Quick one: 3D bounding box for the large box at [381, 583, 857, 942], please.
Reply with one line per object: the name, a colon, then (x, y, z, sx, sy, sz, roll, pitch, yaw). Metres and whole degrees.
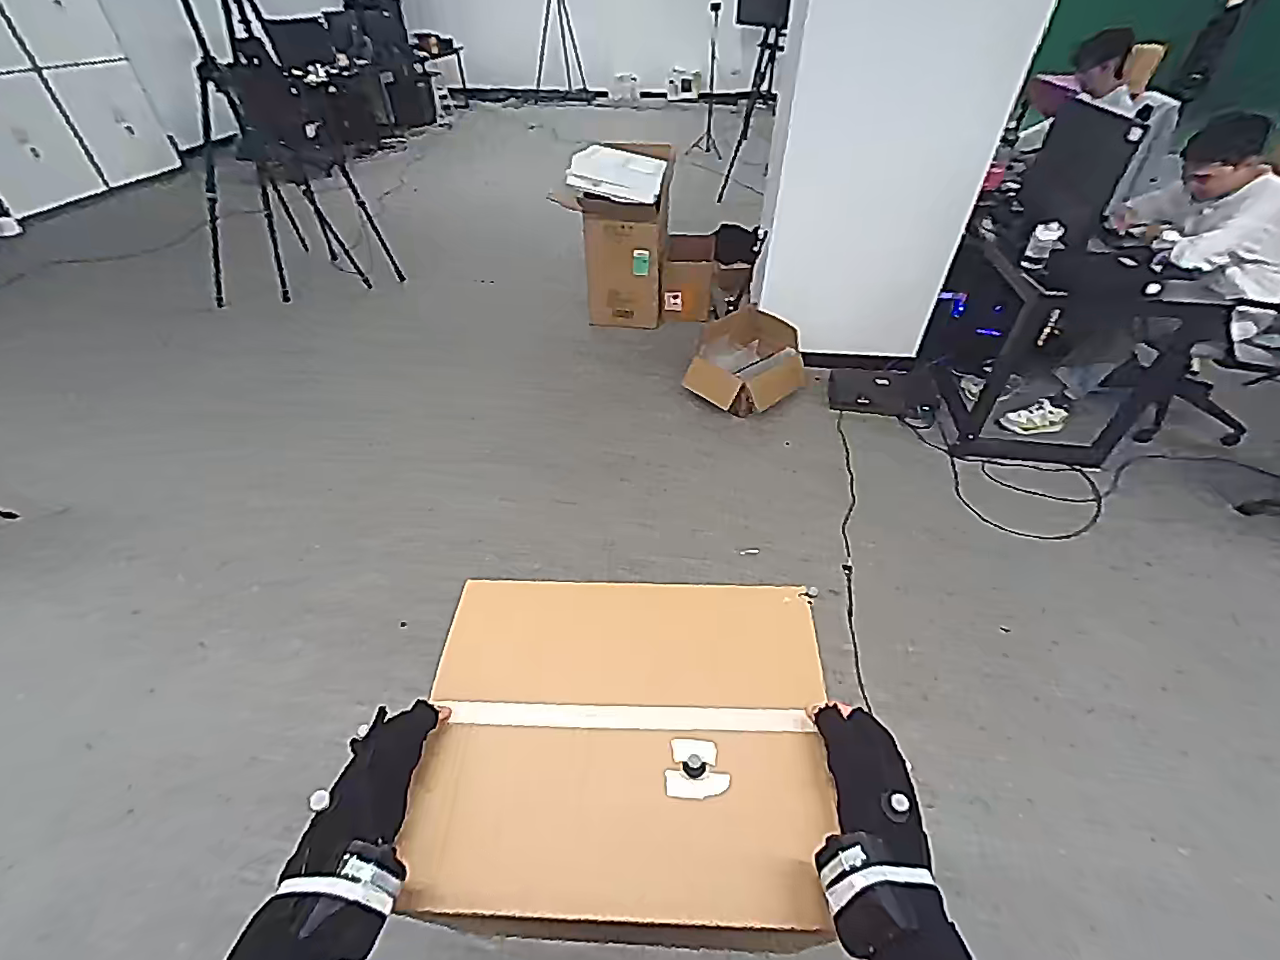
large box: (-0.015, 0.340, 0.652, 0.408, 0.320, 0.320, 1, 47, 2)
